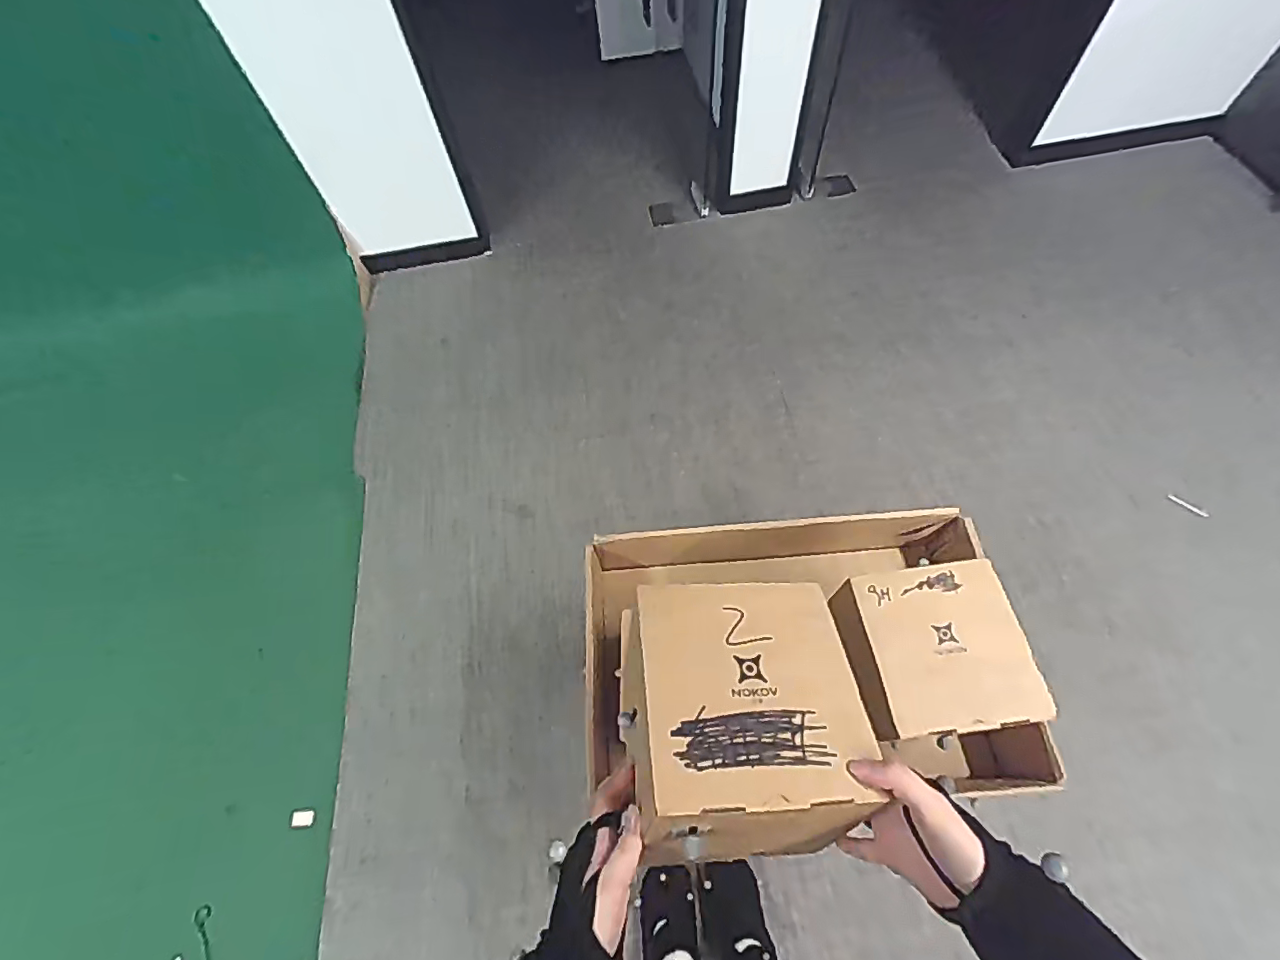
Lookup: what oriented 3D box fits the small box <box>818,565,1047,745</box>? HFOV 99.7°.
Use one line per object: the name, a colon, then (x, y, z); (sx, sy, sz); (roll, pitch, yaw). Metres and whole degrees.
small box: (0.335, 0.220, 0.663); (0.168, 0.176, 0.179); (-7, 63, 0)
